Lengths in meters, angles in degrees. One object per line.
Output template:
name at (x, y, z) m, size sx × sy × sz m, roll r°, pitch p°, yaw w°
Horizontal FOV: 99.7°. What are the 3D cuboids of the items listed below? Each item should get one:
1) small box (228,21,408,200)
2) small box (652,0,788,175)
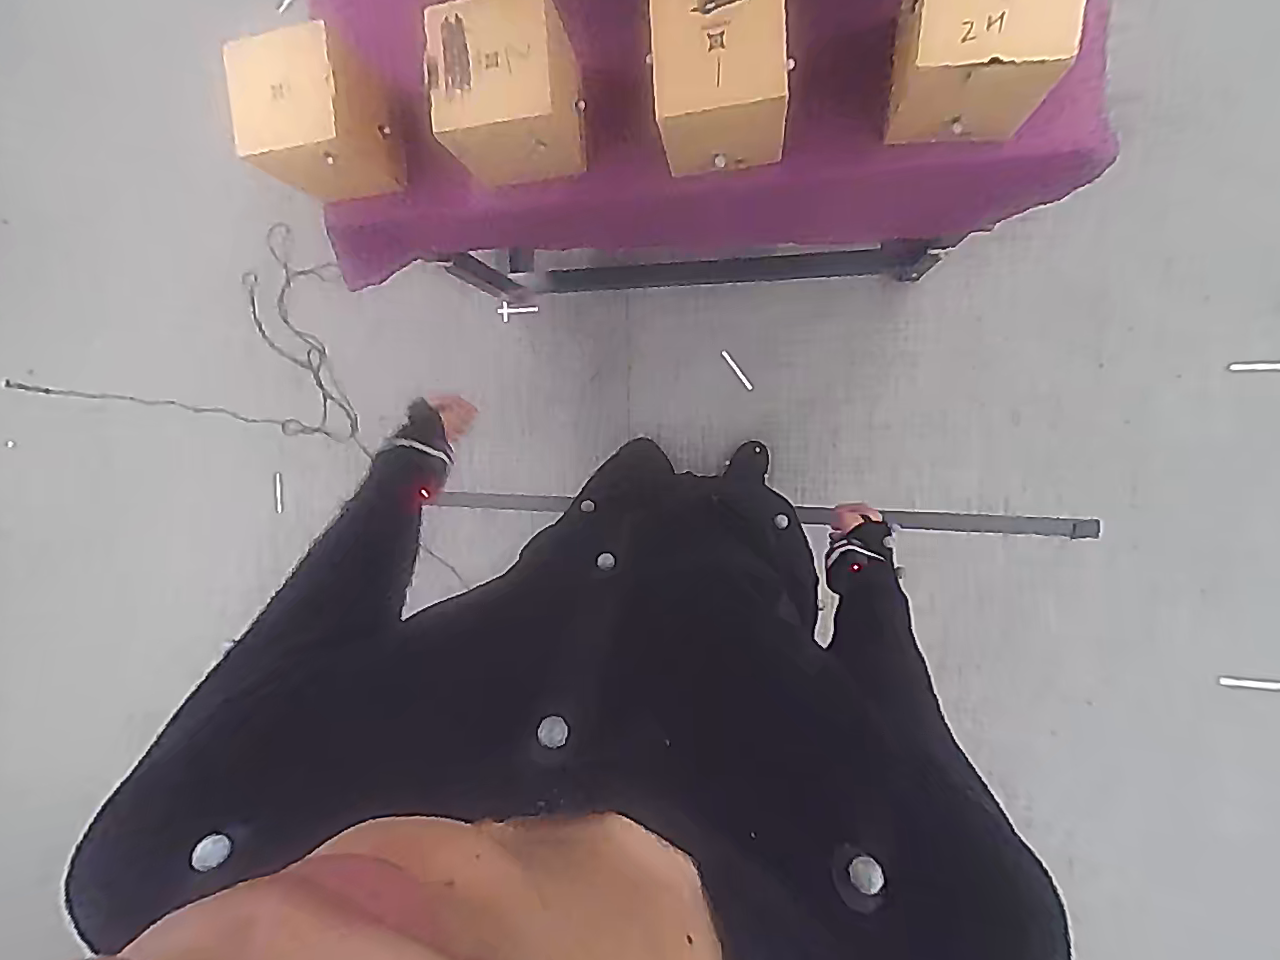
small box at (-0.504, -0.571, 0.864) m, size 0.179 × 0.176 × 0.168 m, roll -3°, pitch 94°, yaw 10°
small box at (0.112, -0.552, 0.739) m, size 0.168 × 0.176 × 0.179 m, roll -2°, pitch 96°, yaw 12°
